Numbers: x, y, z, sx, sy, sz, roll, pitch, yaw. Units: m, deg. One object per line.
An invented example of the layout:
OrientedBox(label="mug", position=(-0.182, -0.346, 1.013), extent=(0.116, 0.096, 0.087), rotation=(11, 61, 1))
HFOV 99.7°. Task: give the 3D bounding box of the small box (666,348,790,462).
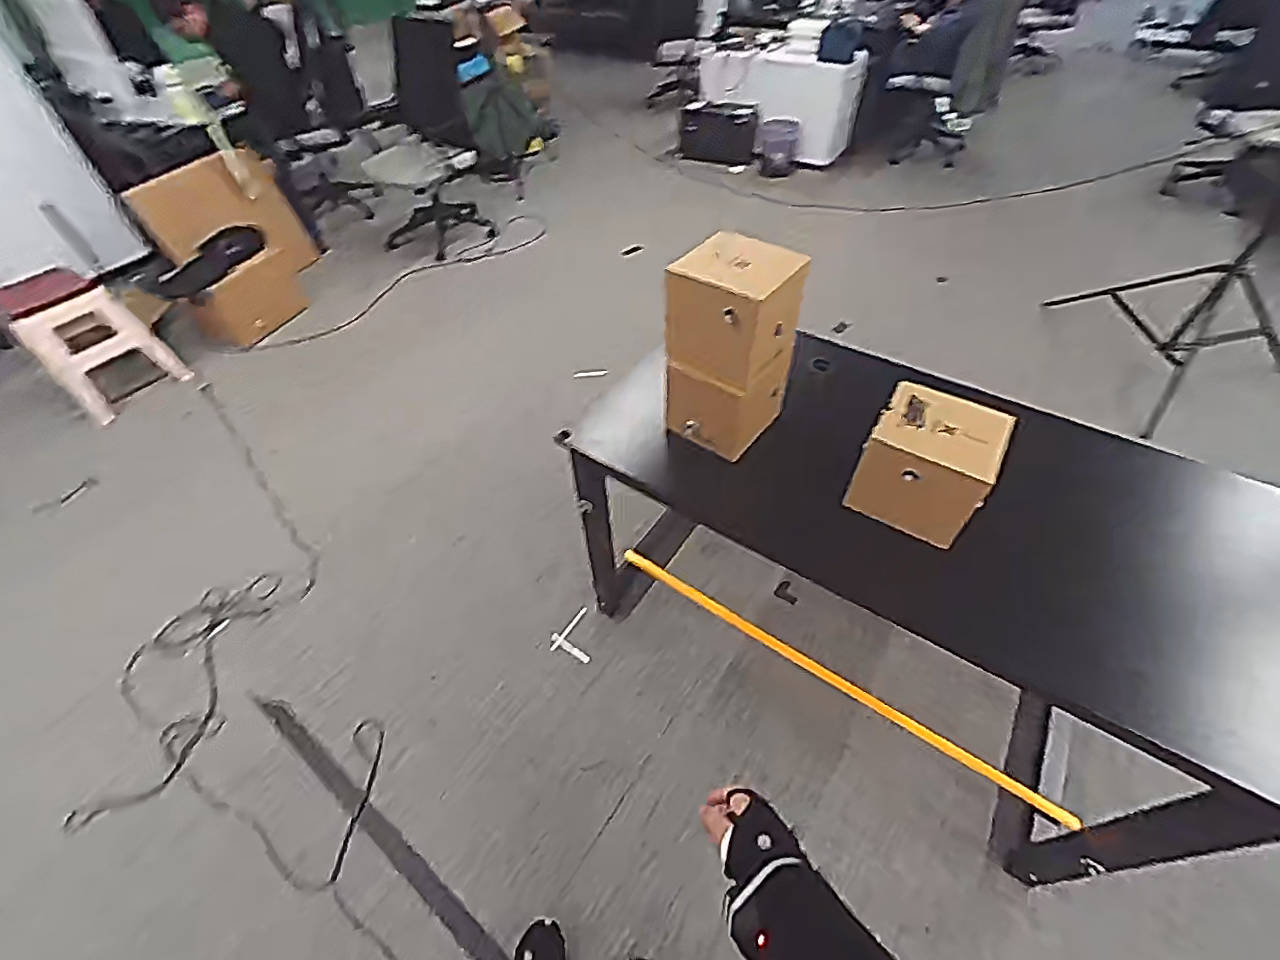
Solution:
OrientedBox(label="small box", position=(0.162, -0.168, 1.034), extent=(0.168, 0.176, 0.179), rotation=(29, 57, 26))

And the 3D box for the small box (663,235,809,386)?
OrientedBox(label="small box", position=(0.156, -0.283, 0.915), extent=(0.179, 0.176, 0.168), rotation=(29, 55, 26))

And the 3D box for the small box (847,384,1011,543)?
OrientedBox(label="small box", position=(0.467, -0.025, 0.894), extent=(0.179, 0.176, 0.168), rotation=(26, 55, 22))
